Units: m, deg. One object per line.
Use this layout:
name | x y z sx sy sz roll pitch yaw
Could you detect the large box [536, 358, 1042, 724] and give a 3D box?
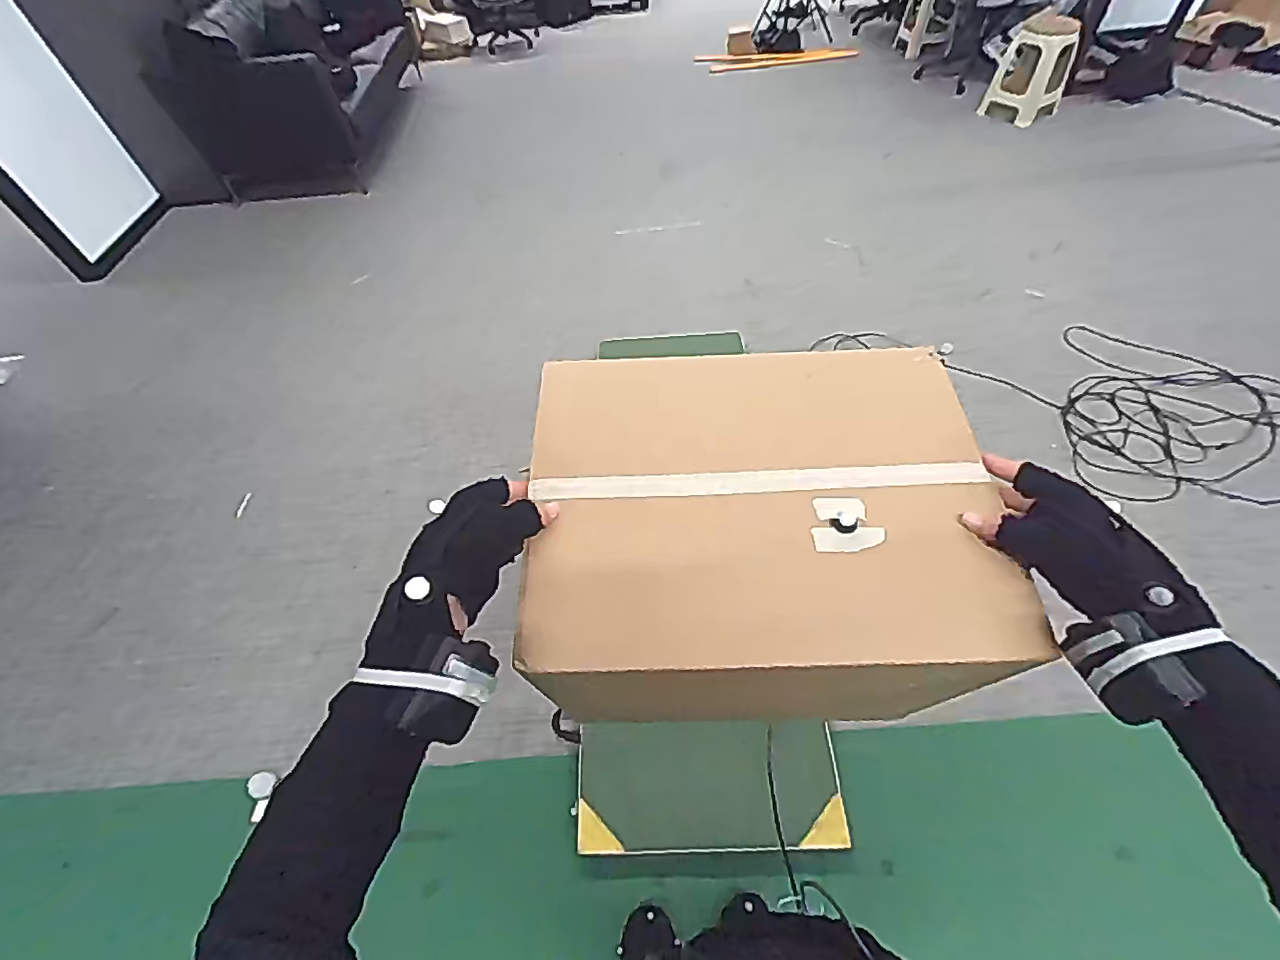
large box | 0.113 0.087 0.621 0.408 0.320 0.320 -2 59 1
